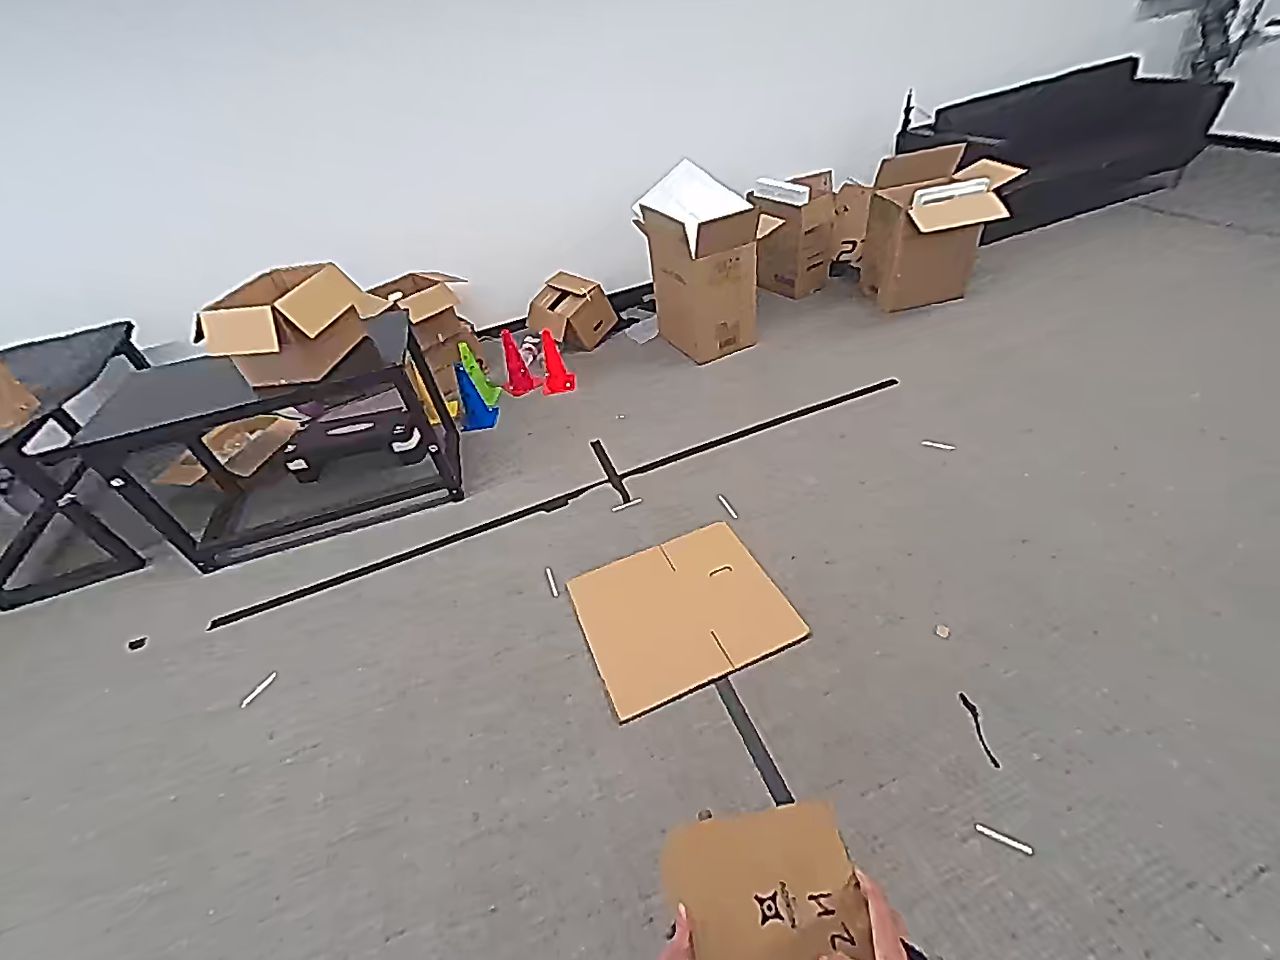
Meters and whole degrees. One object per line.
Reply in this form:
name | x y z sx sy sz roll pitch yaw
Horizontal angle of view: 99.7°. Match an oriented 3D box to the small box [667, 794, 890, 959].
small box | 0.128 0.457 0.571 0.179 0.176 0.168 -4 46 -9
